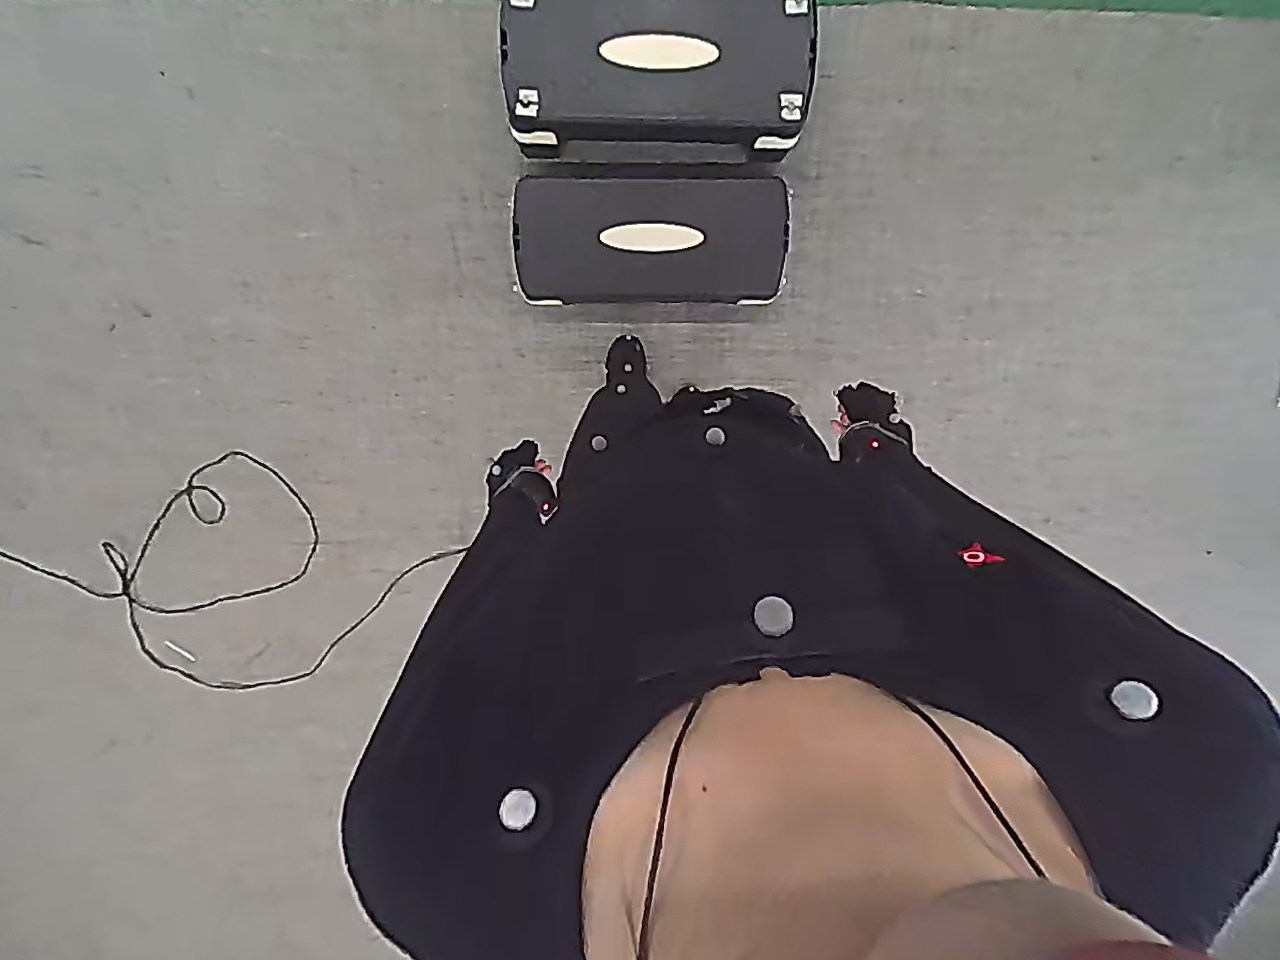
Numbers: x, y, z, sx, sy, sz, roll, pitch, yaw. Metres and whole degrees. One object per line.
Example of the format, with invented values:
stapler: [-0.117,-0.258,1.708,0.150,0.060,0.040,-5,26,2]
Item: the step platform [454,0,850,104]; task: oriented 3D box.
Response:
step platform: [0.021,-0.887,0.999,0.684,0.204,0.286,0,103,-1]
